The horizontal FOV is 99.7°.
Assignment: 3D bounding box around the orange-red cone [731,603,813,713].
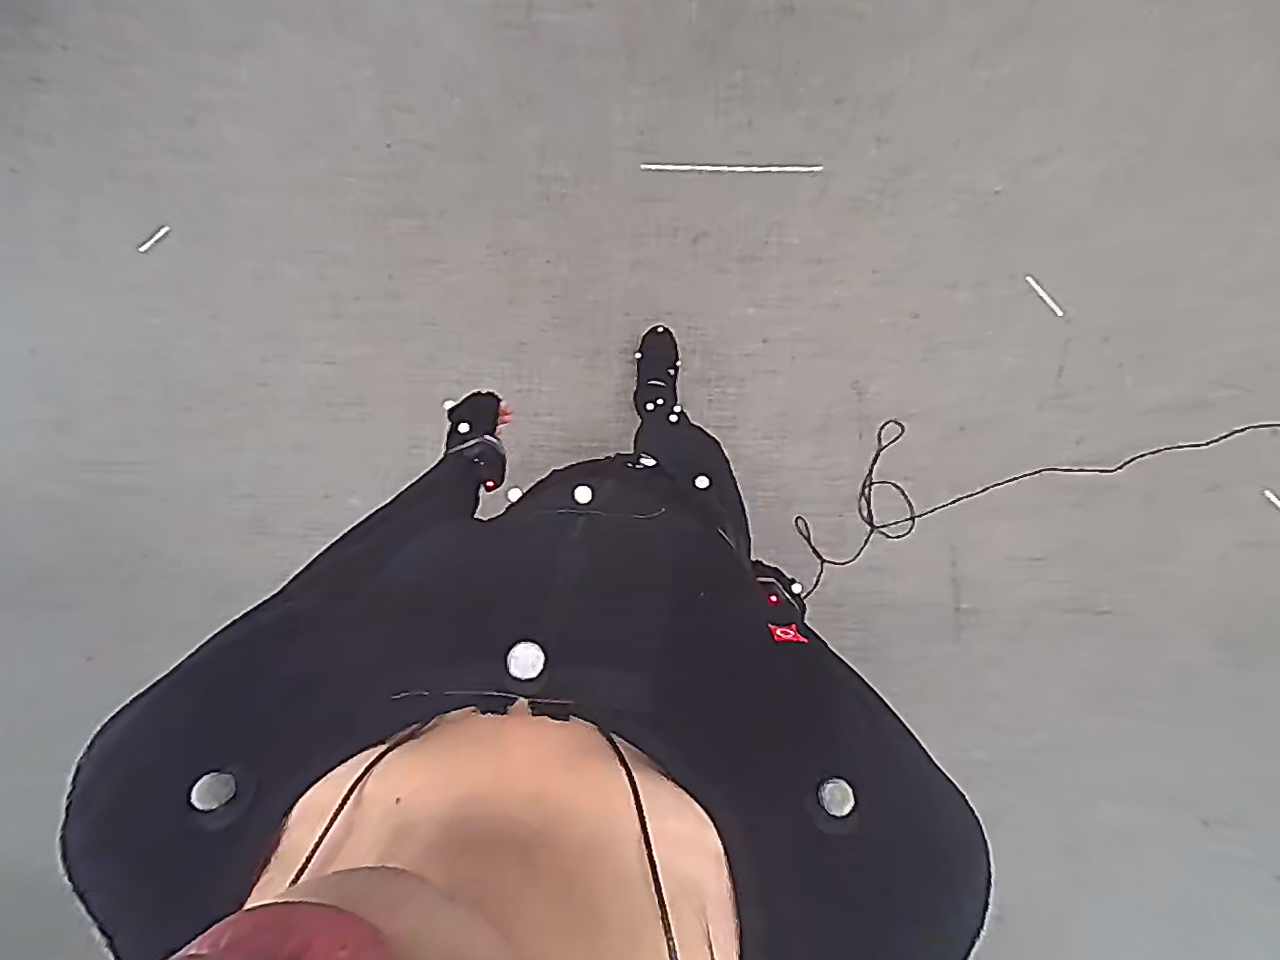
[{"bbox_3d":[0.371,0.481,1.370,0.198,0.360,0.199,-17,97,3],"label":"orange-red cone"}]
